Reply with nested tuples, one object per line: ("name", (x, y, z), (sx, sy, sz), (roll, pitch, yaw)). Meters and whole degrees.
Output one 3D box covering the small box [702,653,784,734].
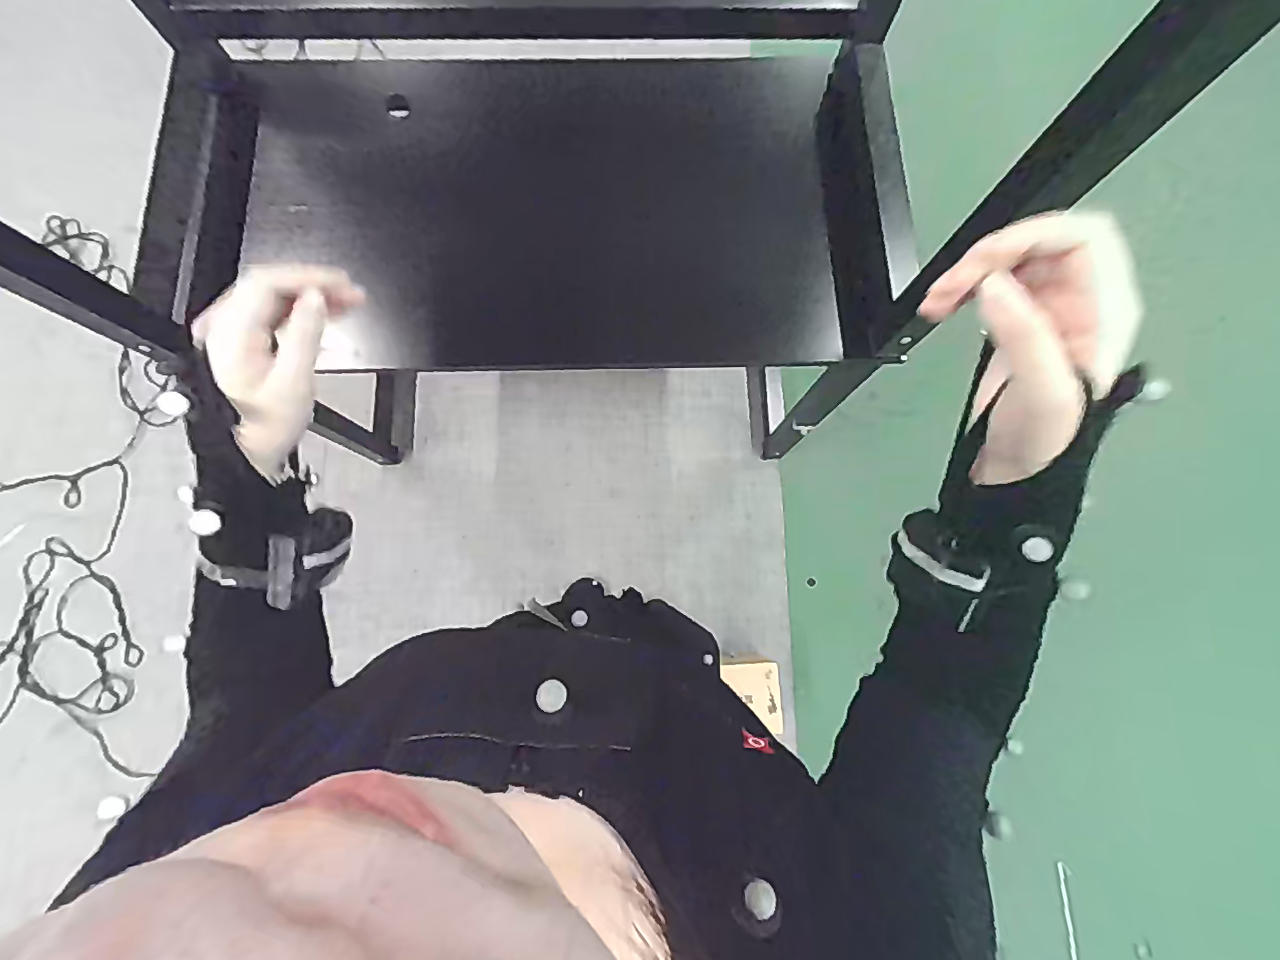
("small box", (0.253, 0.536, 1.374), (0.179, 0.176, 0.168), (-2, 79, -1))
